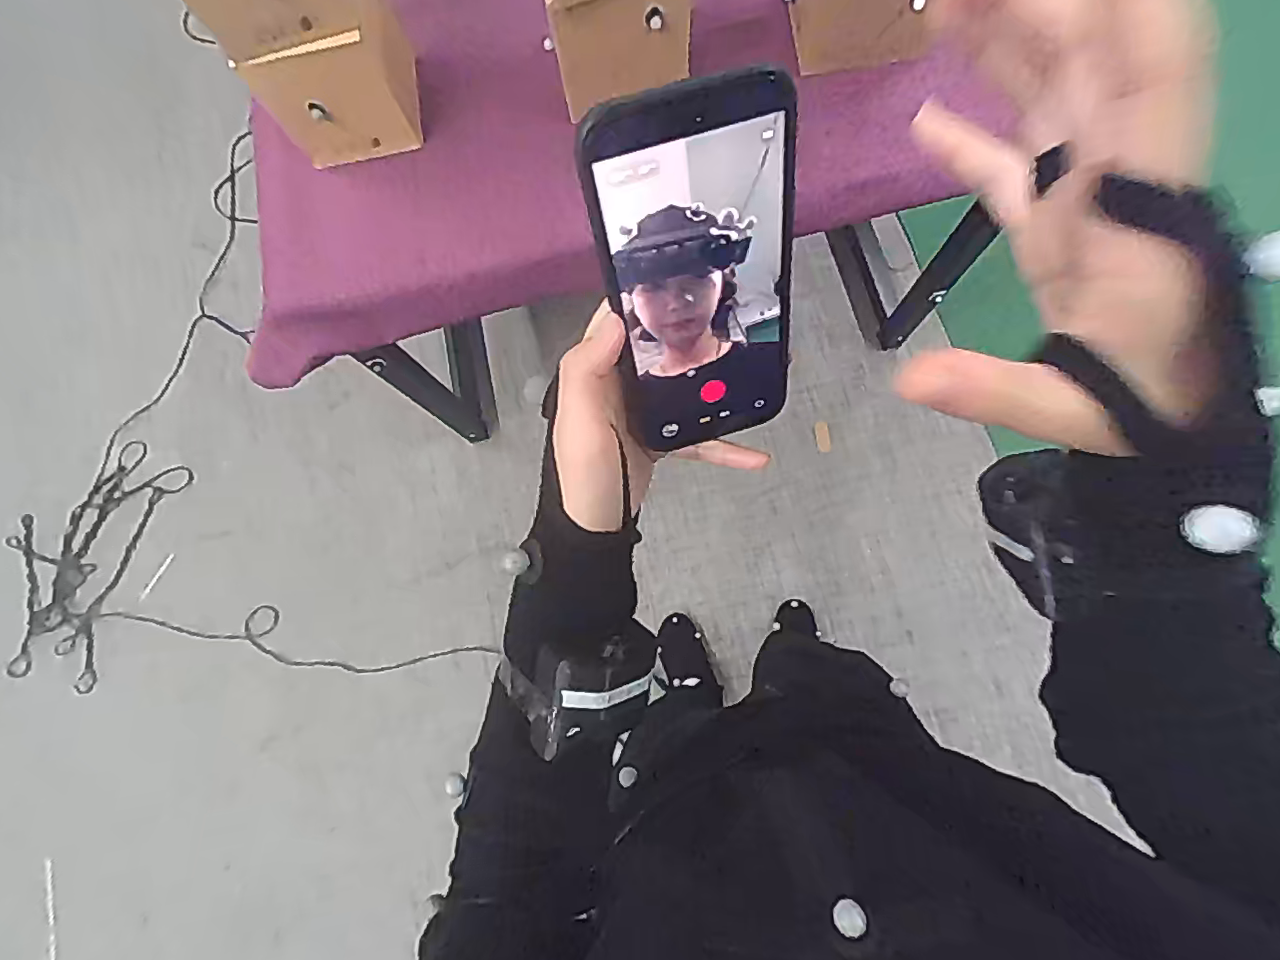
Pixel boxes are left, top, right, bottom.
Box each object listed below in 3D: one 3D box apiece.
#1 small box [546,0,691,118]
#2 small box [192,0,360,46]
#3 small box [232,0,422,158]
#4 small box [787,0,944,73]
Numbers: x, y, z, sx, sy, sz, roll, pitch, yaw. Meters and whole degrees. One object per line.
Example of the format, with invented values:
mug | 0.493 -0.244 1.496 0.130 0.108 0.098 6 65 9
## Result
small box | -0.033 -0.634 0.727 0.179 0.176 0.168 -11 78 2
small box | -0.434 -0.621 0.589 0.168 0.176 0.179 -15 78 1
small box | -0.420 -0.580 0.747 0.168 0.176 0.179 -10 78 2
small box | 0.303 -0.685 0.713 0.179 0.176 0.168 -5 77 4
